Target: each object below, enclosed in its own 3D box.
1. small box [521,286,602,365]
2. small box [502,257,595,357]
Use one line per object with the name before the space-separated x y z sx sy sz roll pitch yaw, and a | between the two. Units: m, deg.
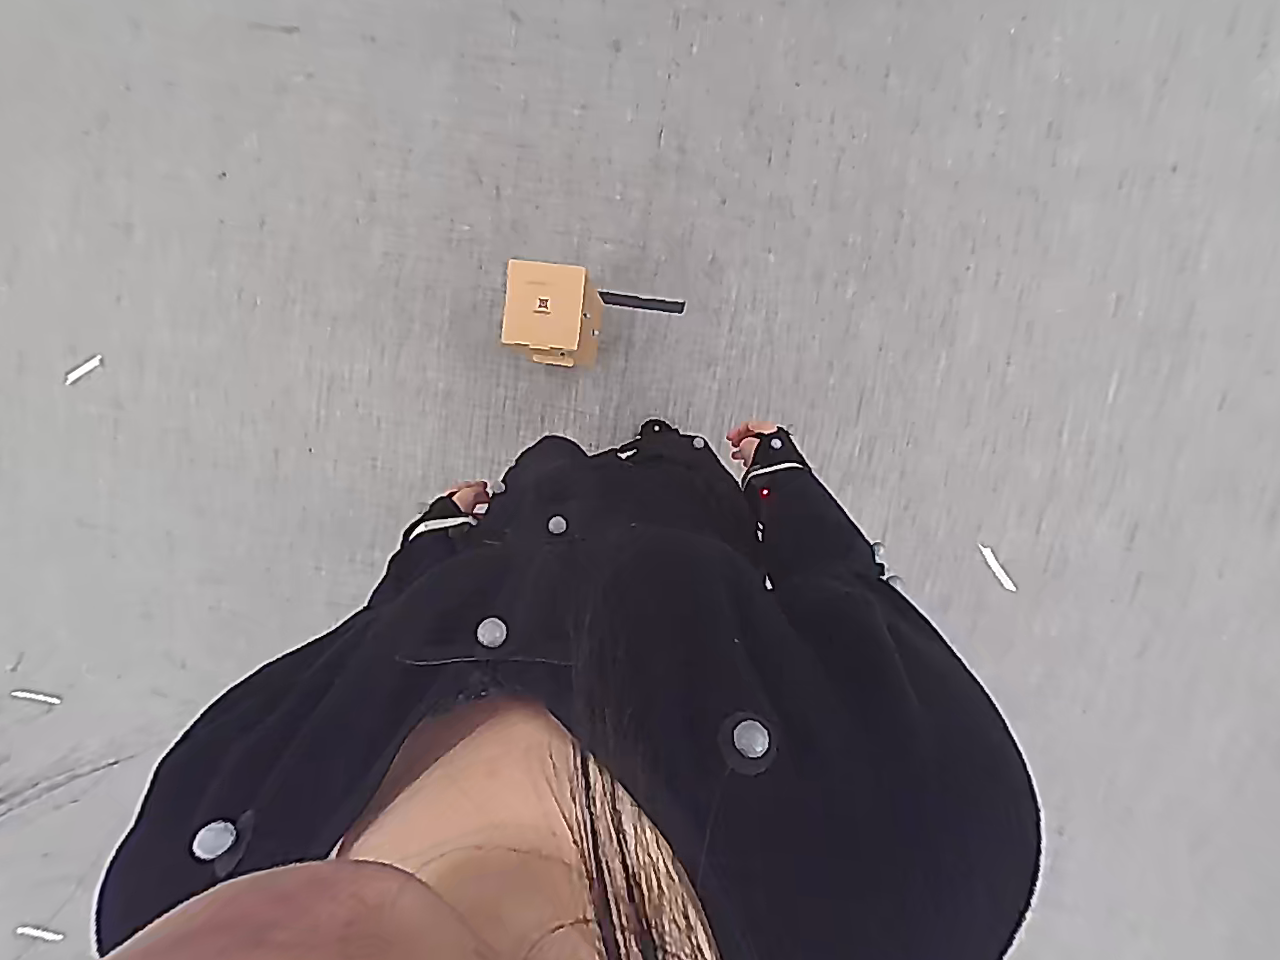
small box | -0.193 -0.395 1.374 0.168 0.176 0.179 8 96 2
small box | -0.198 -0.378 1.213 0.168 0.176 0.179 7 96 1
